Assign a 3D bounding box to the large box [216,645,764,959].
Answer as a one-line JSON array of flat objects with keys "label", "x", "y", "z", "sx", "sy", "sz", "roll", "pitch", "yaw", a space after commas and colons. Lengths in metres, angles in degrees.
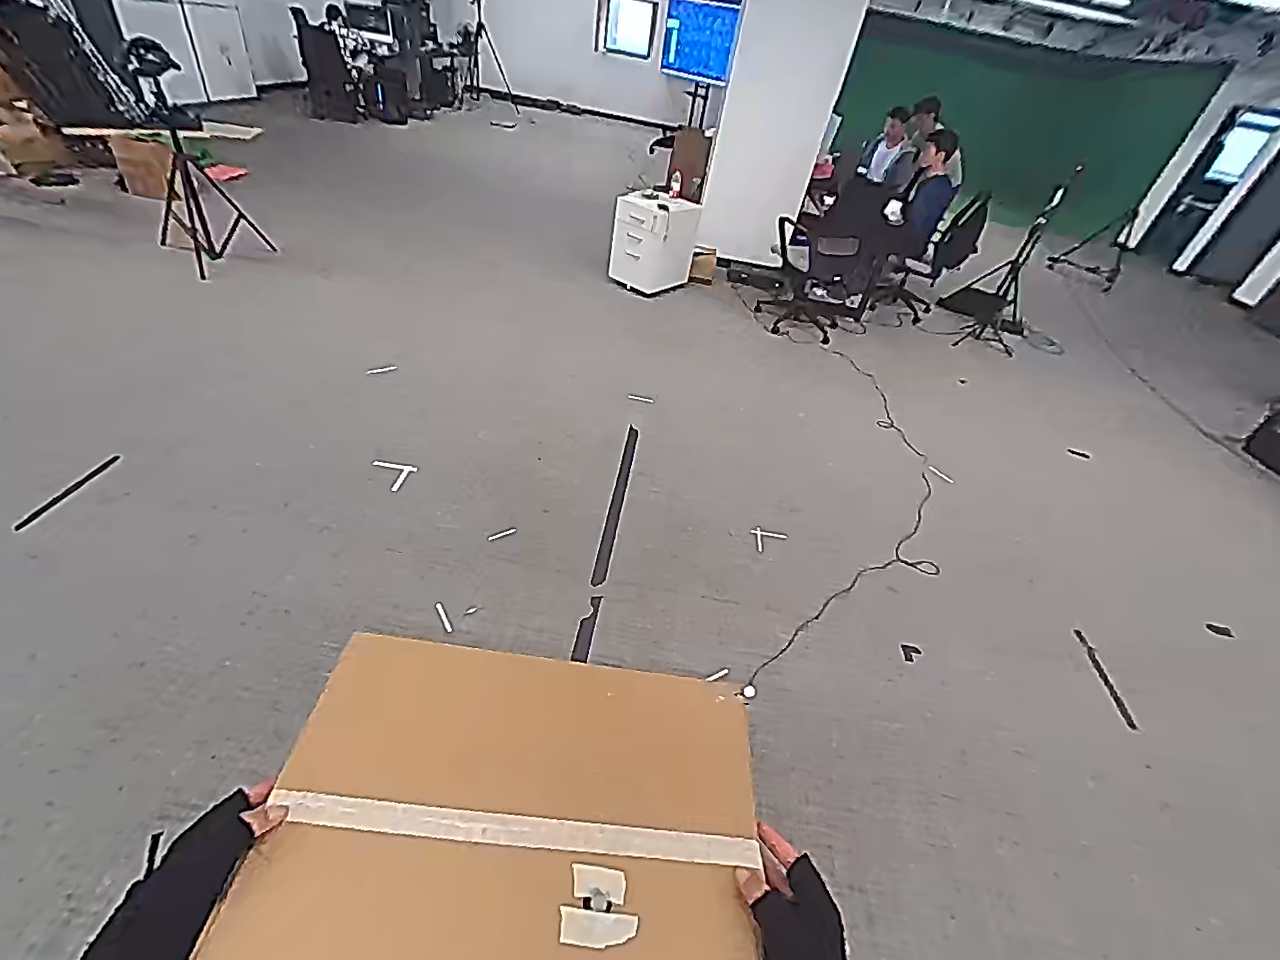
[{"label": "large box", "x": -0.124, "y": 0.407, "z": 0.555, "sx": 0.408, "sy": 0.320, "sz": 0.320, "roll": 10, "pitch": 42, "yaw": -6}]
